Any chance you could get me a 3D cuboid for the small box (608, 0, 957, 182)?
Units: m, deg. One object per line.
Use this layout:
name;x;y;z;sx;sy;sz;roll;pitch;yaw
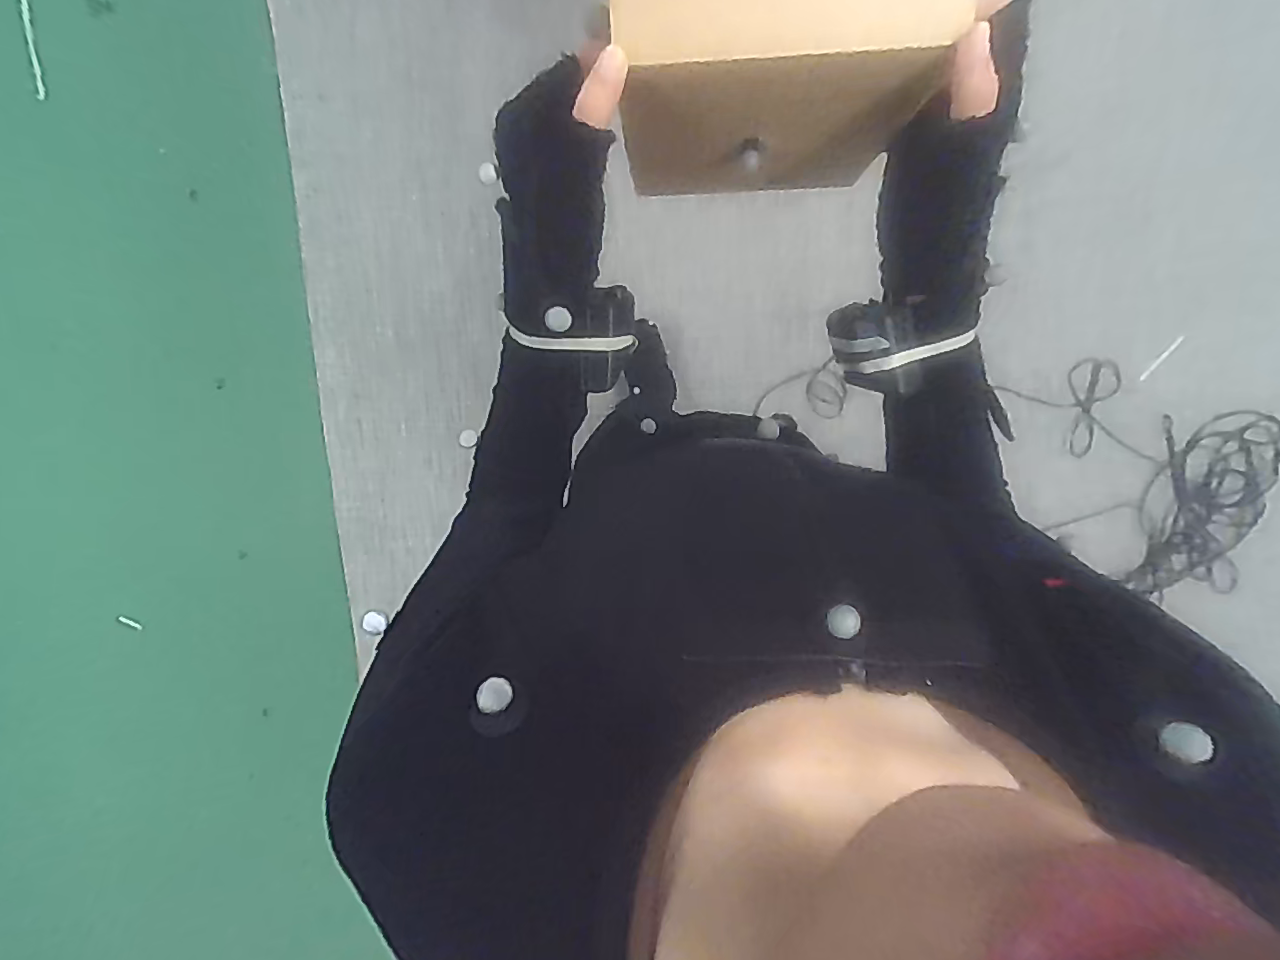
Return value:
small box;0.070;-0.299;0.326;0.168;0.176;0.179;-1;98;3
